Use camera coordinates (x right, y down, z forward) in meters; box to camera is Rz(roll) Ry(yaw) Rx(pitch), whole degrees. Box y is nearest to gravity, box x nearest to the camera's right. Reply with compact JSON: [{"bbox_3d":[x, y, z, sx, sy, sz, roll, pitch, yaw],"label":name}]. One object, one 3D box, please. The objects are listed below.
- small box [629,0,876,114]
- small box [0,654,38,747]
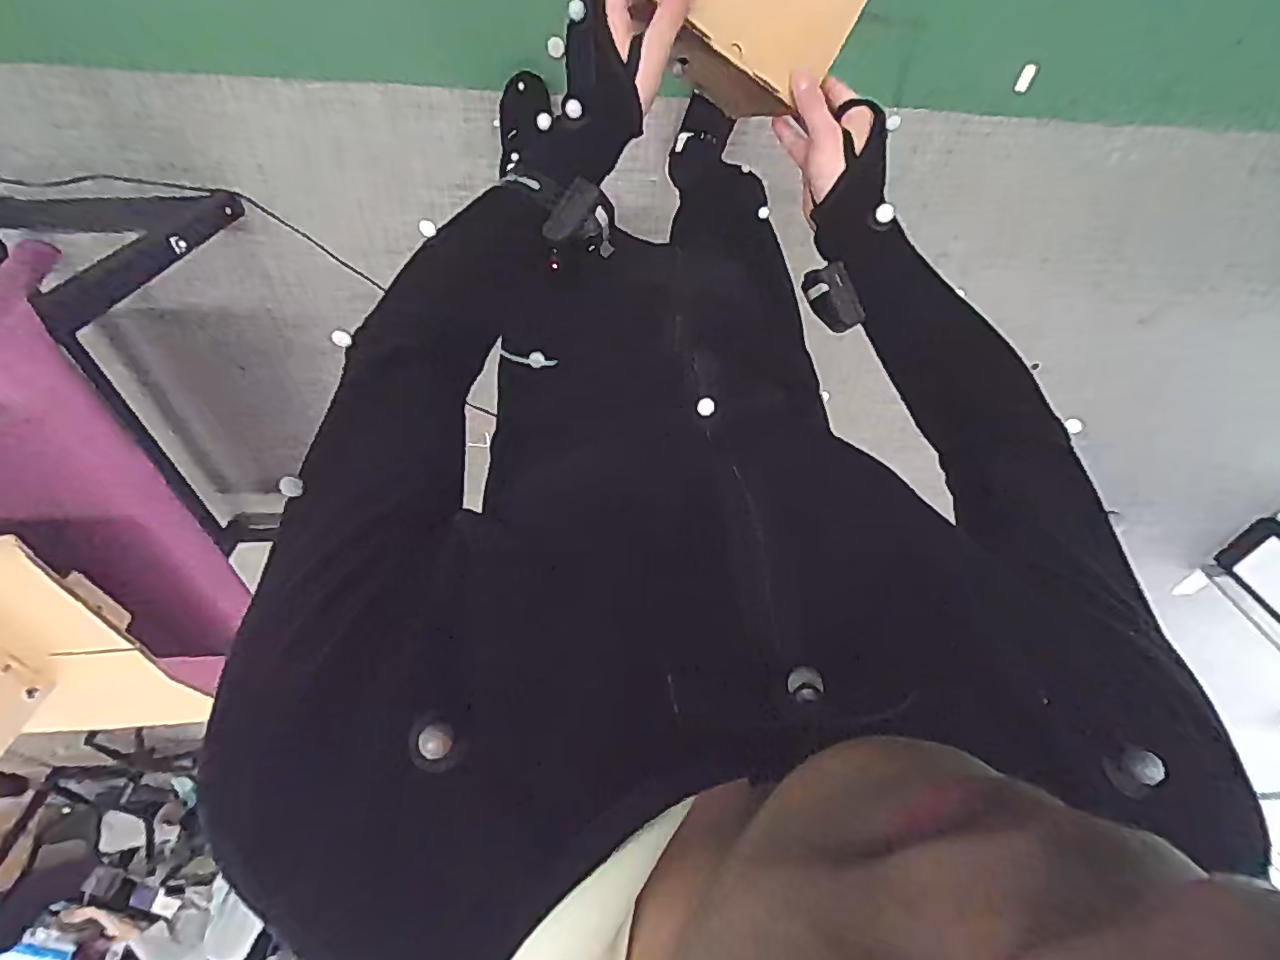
[{"bbox_3d":[0.106,-0.462,0.478,0.168,0.176,0.179,18,117,-25],"label":"small box"},{"bbox_3d":[-1.203,0.391,0.914,0.179,0.176,0.168,-2,131,-1],"label":"small box"}]
